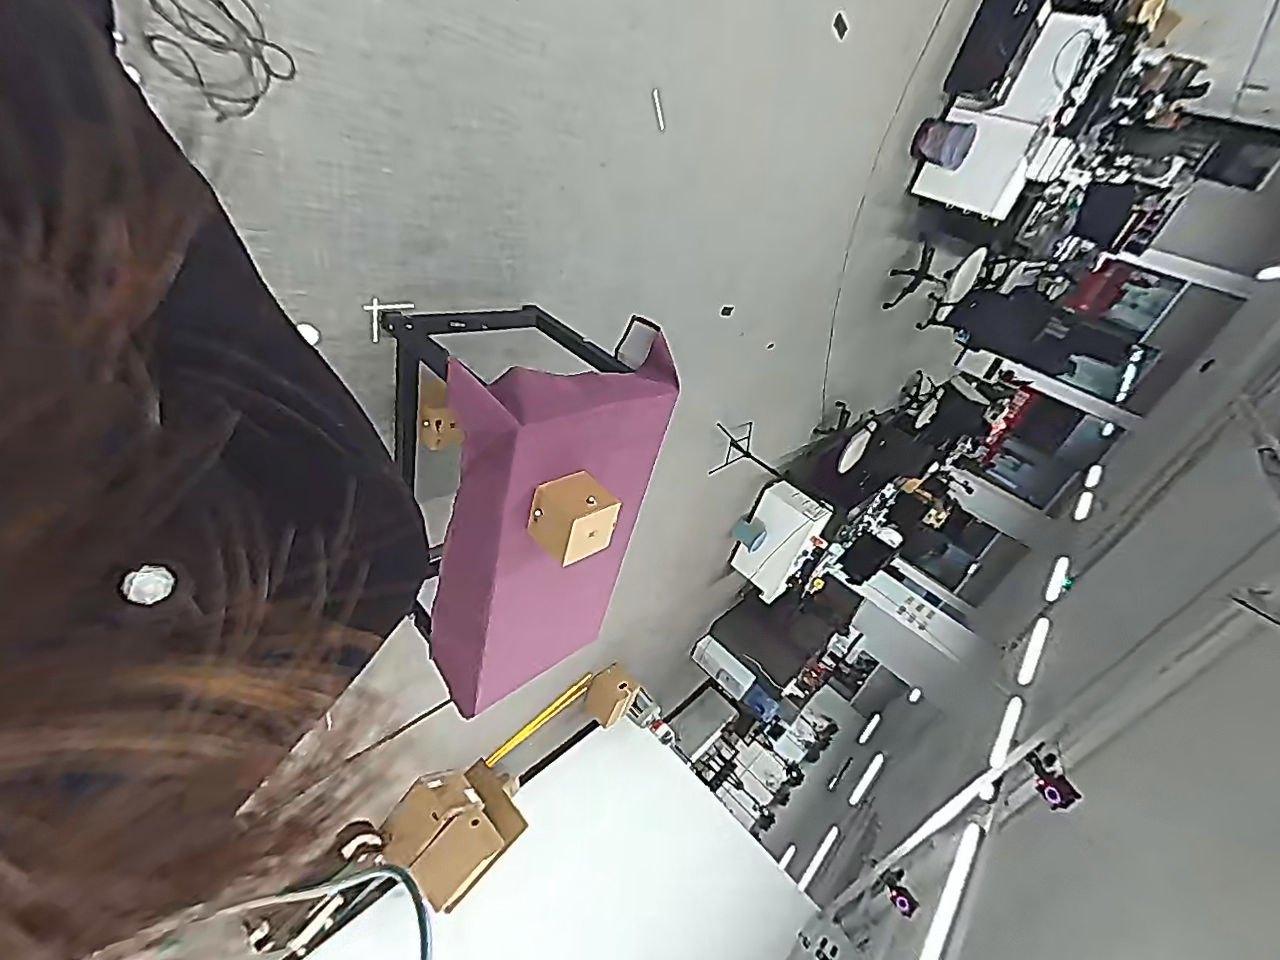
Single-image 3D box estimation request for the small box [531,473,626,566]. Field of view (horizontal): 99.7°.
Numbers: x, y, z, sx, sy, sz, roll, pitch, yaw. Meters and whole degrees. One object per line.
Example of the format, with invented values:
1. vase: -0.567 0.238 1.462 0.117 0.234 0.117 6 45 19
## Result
1. small box: -0.173 0.101 1.494 0.179 0.176 0.168 -19 138 -44
